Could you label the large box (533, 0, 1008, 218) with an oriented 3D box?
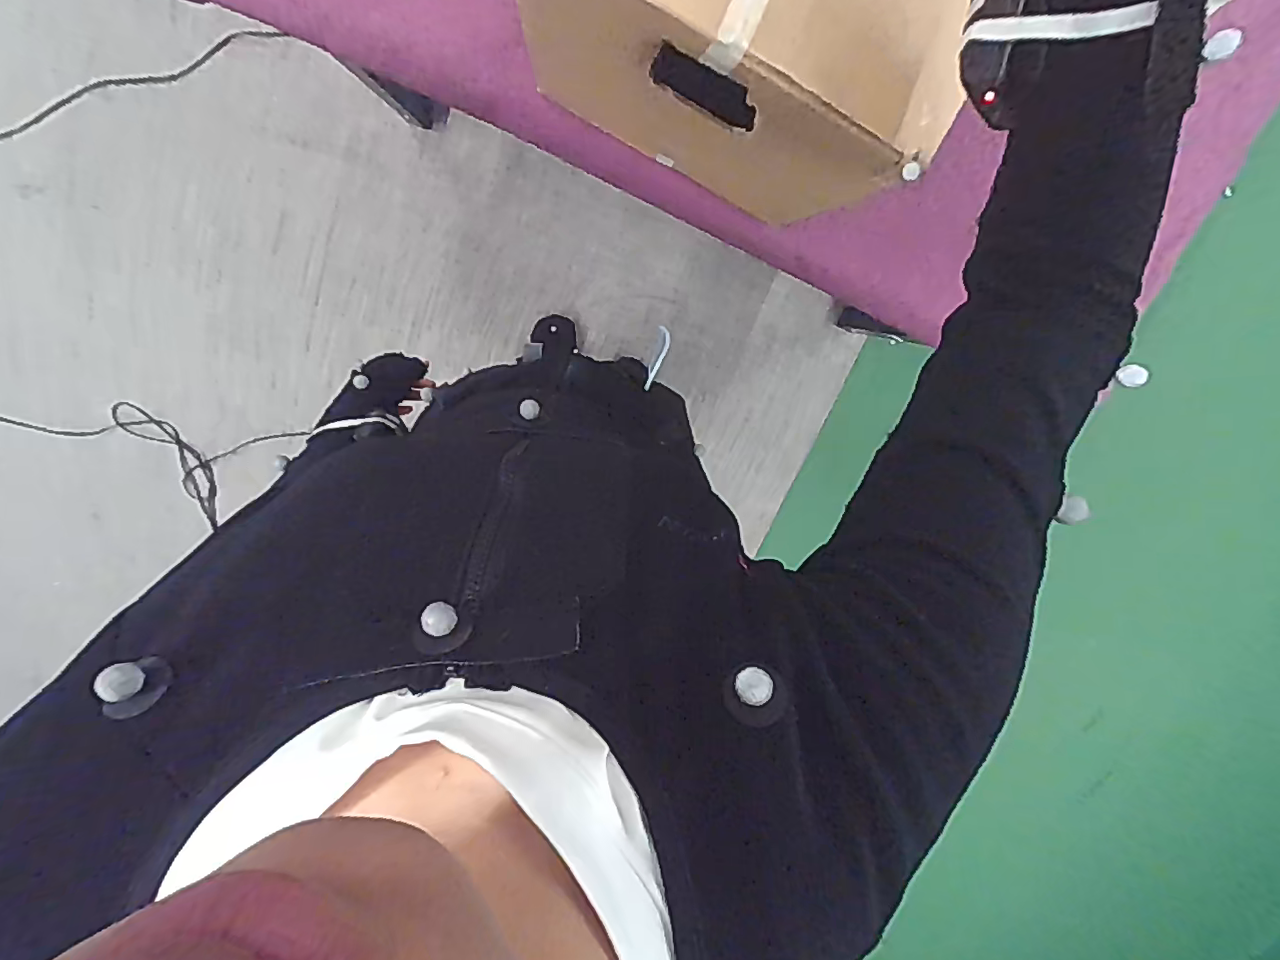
[{"bbox_3d":[0.129,-0.499,0.446,0.320,0.320,0.408,23,106,-12],"label":"large box"}]
